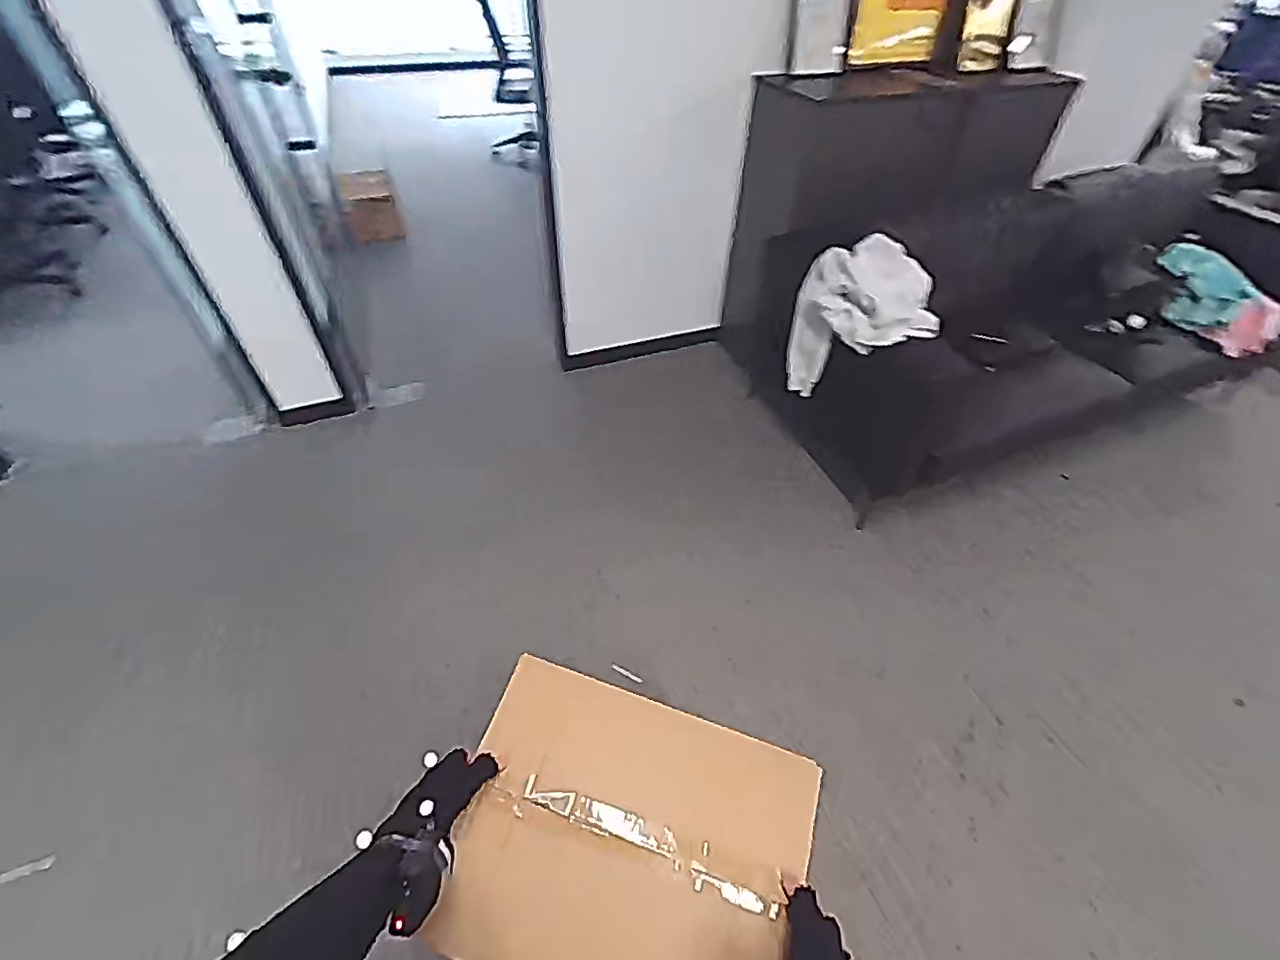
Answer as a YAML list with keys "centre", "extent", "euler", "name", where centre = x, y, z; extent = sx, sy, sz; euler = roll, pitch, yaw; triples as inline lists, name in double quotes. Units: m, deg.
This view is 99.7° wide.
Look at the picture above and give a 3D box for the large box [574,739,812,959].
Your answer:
- centre: [0.079, 0.824, 1.089]
  extent: [0.320, 0.320, 0.408]
  euler: [-13, 47, -15]
  name: "large box"
